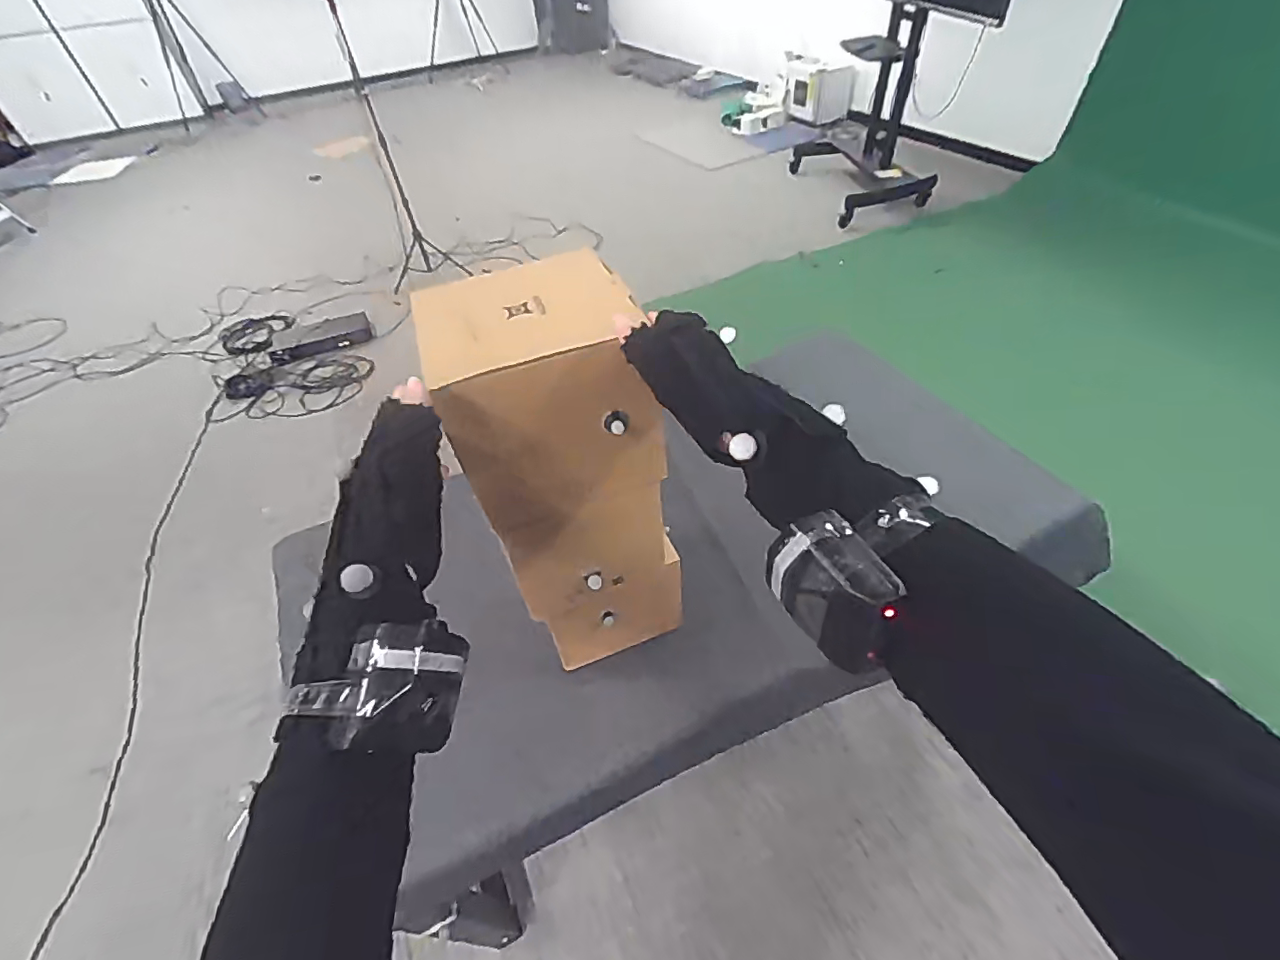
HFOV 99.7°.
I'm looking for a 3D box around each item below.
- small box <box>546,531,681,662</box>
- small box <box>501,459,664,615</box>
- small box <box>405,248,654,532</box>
[{"bbox_3d":[-0.054,0.124,0.752,0.179,0.176,0.168,-20,48,-10],"label":"small box"},{"bbox_3d":[-0.084,0.021,0.626,0.168,0.176,0.179,-23,47,-13],"label":"small box"},{"bbox_3d":[-0.093,-0.083,0.501,0.179,0.176,0.168,-20,47,-9],"label":"small box"}]
